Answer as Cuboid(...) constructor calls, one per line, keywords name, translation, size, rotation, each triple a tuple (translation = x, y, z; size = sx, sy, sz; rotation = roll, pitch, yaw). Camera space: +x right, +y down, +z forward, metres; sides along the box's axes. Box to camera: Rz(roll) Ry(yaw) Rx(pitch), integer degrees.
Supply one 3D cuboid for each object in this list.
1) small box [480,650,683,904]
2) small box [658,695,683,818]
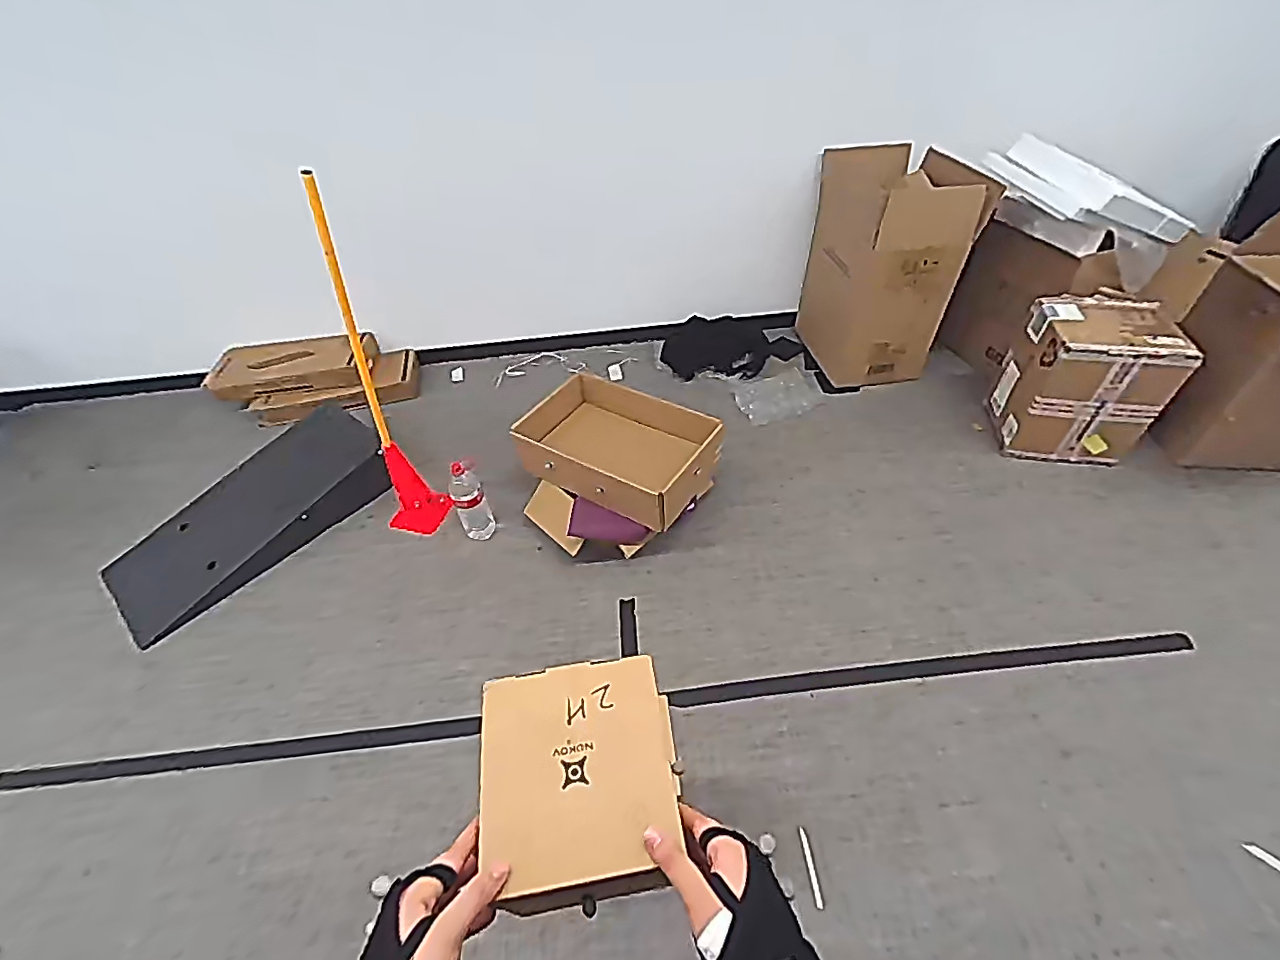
Cuboid(name="small box", translation=(-0.053, 0.297, 0.535), size=(0.168, 0.176, 0.179), rotation=(-9, 48, -5))
Cuboid(name="small box", translation=(-0.014, 0.535, 1.021), size=(0.168, 0.176, 0.179), rotation=(-7, 45, -2))
